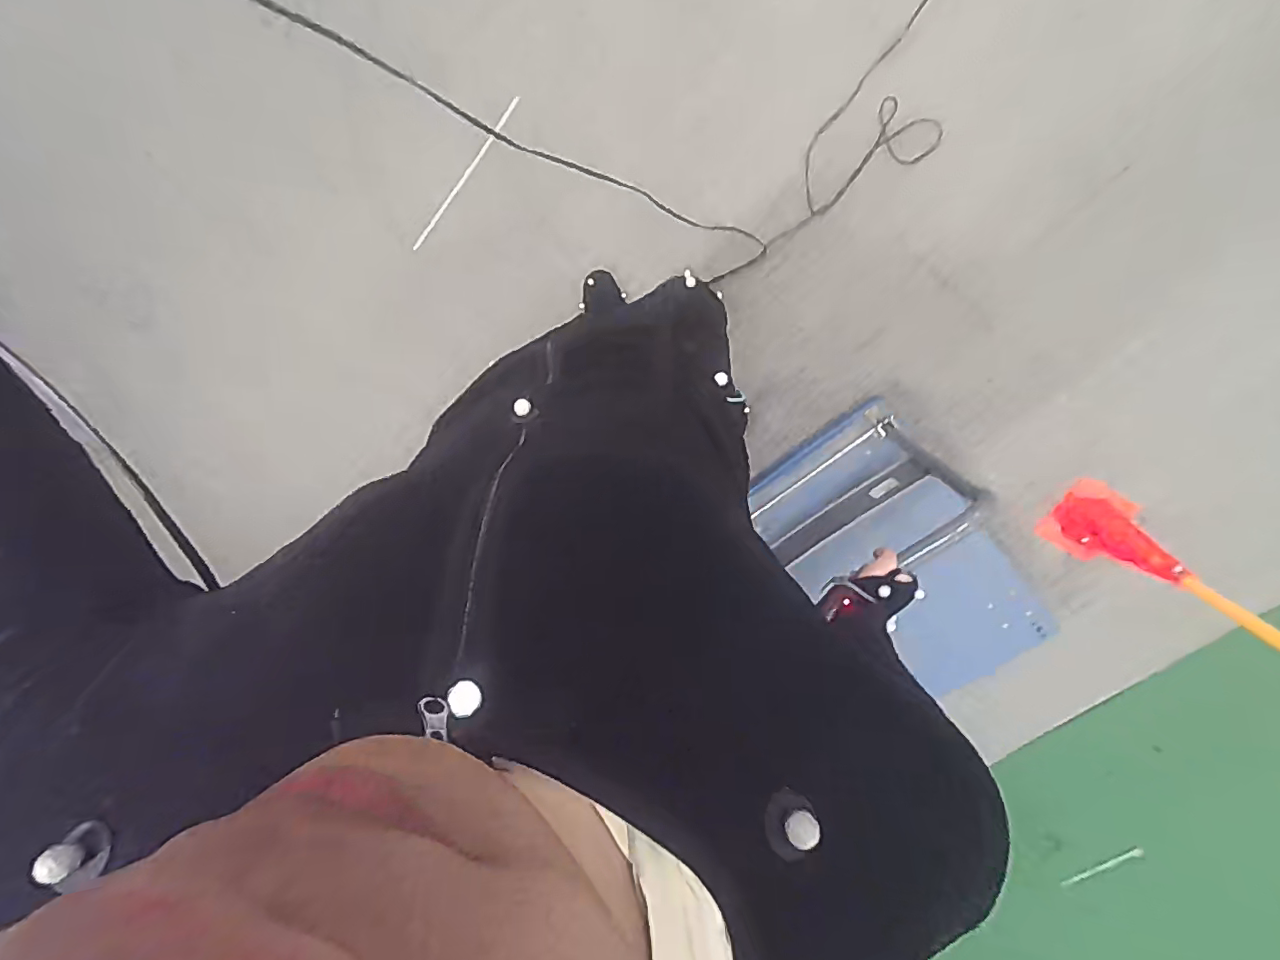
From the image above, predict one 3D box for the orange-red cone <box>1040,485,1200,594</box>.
[{"bbox_3d":[1.275,0.185,1.399,0.198,0.360,0.199,29,109,-5],"label":"orange-red cone"}]
